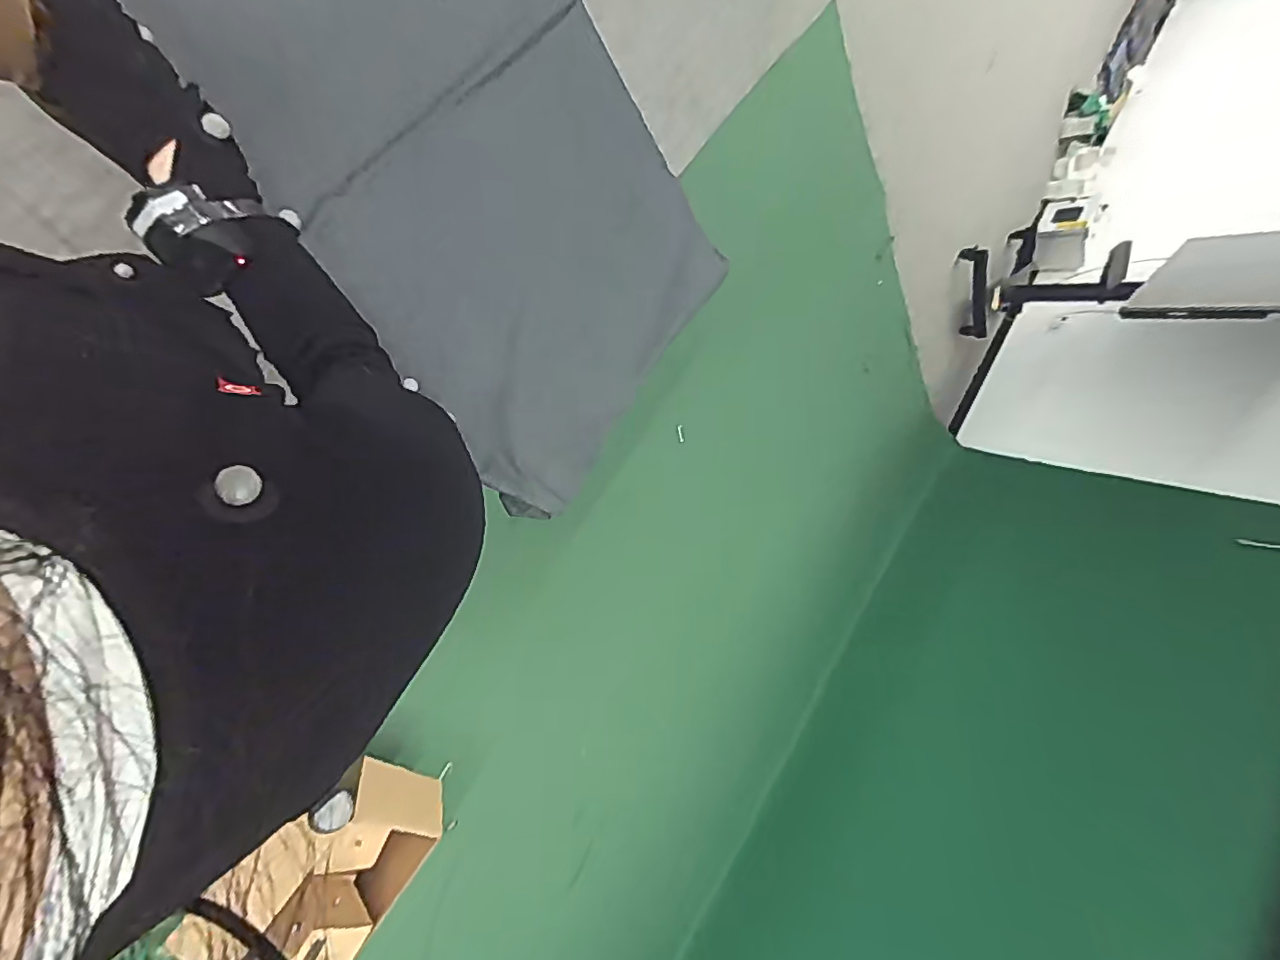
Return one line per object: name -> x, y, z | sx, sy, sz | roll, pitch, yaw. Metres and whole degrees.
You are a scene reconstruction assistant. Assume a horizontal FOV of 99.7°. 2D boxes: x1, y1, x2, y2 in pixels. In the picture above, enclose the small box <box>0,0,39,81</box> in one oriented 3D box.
small box -> -0.447, -0.358, 0.279 | 0.168, 0.176, 0.179 | -8, 105, -44
